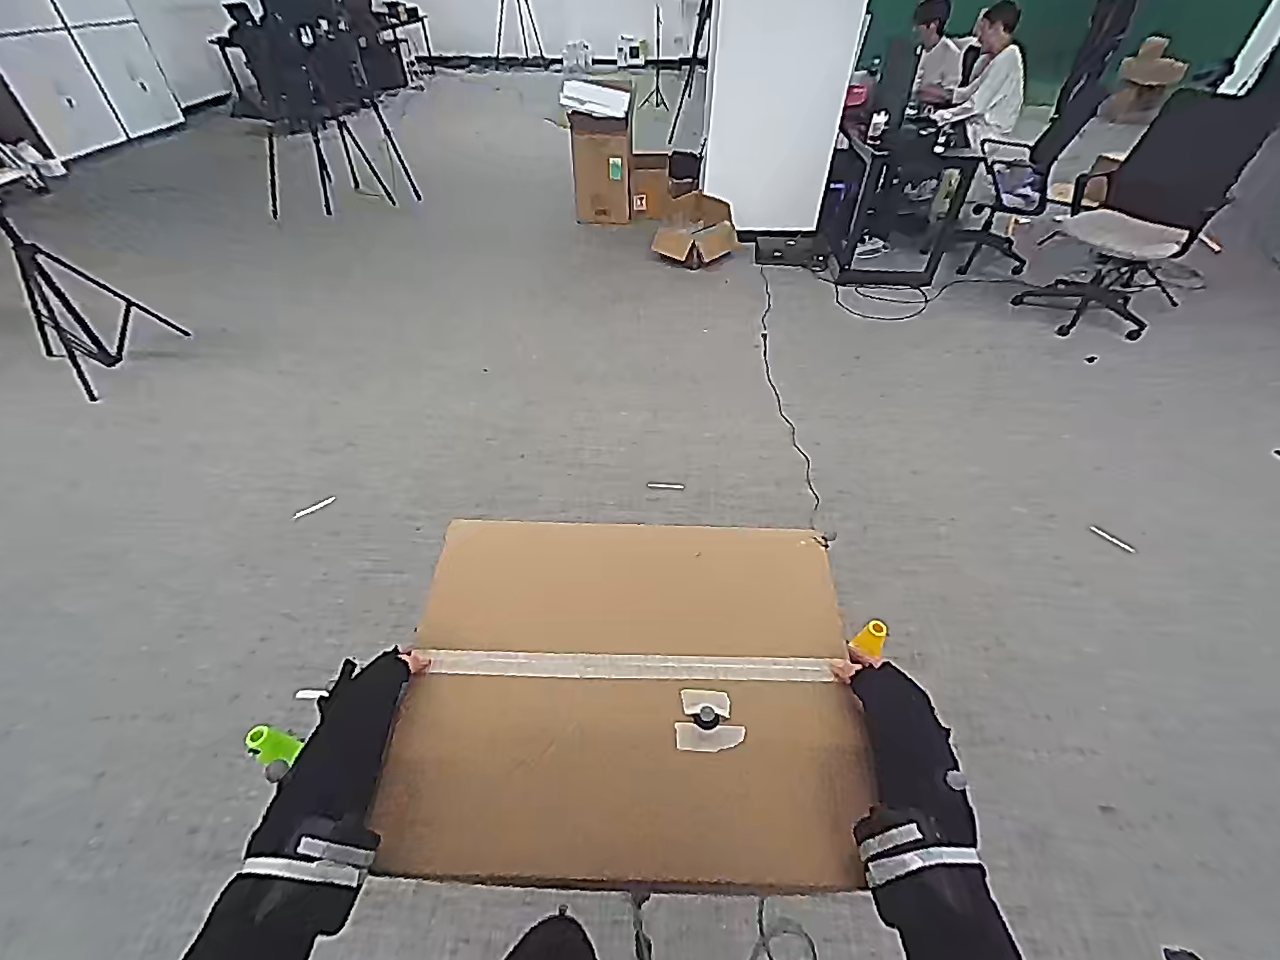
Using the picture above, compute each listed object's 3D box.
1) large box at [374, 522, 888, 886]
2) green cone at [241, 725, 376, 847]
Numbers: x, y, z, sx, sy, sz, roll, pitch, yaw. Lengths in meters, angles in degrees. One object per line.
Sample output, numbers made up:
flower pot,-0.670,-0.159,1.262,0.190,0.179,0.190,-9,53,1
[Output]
large box,-0.009,0.264,0.619,0.408,0.320,0.320,2,52,0
green cone,-0.777,0.635,1.218,0.202,0.368,0.200,-26,49,-22
